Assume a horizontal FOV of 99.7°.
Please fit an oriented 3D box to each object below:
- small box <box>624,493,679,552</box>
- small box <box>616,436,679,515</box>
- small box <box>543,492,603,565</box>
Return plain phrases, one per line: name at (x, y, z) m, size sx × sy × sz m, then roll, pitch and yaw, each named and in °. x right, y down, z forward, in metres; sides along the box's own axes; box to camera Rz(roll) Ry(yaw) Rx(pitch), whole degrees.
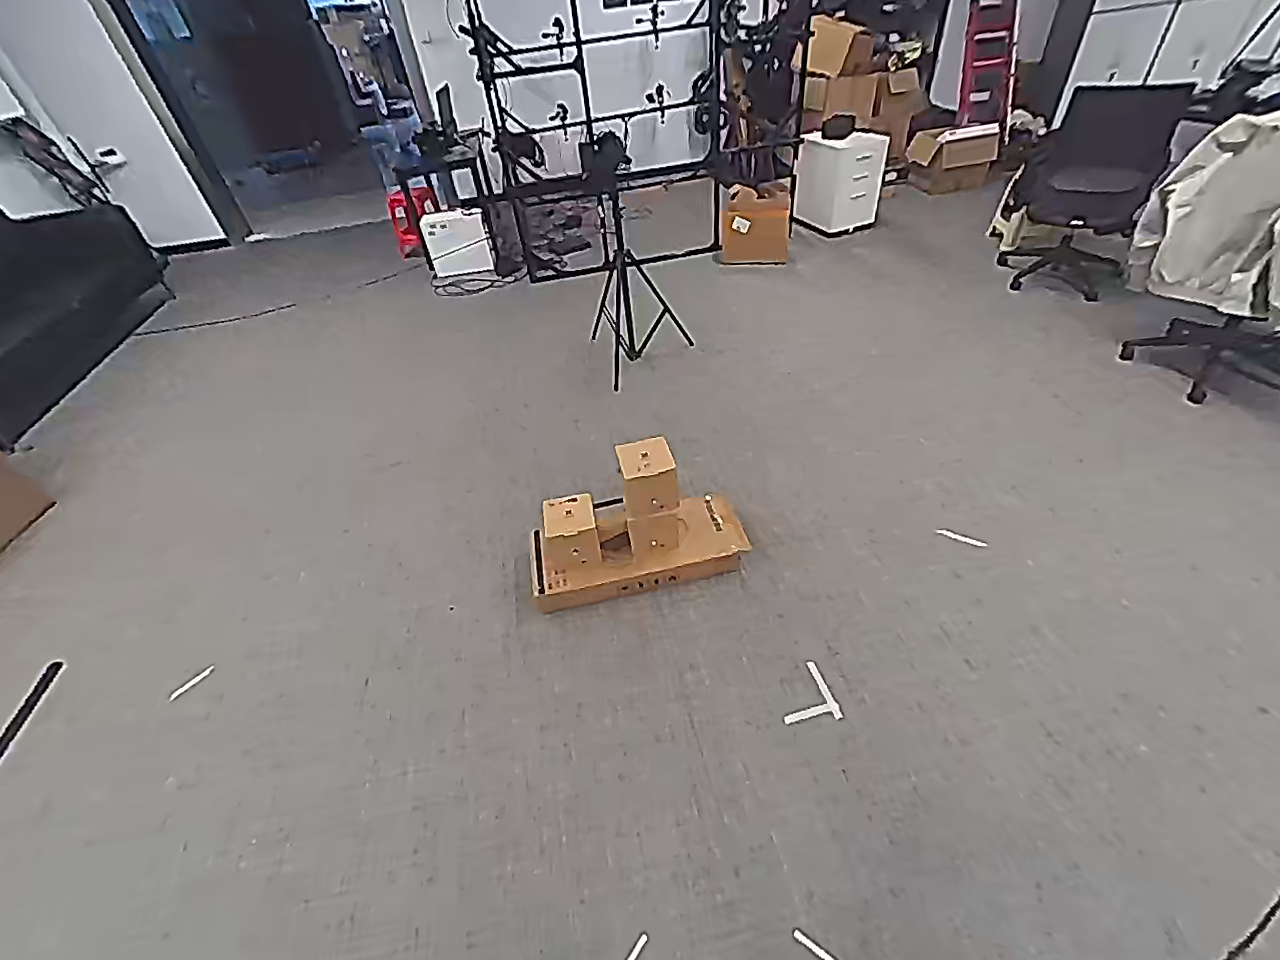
small box at (0.038, 0.119, 1.851) m, size 0.168 × 0.176 × 0.179 m, roll -10°, pitch 42°, yaw -2°
small box at (0.025, -0.015, 1.753) m, size 0.168 × 0.176 × 0.179 m, roll -13°, pitch 42°, yaw -5°
small box at (-0.225, 0.171, 1.828) m, size 0.168 × 0.176 × 0.179 m, roll -12°, pitch 43°, yaw -4°
